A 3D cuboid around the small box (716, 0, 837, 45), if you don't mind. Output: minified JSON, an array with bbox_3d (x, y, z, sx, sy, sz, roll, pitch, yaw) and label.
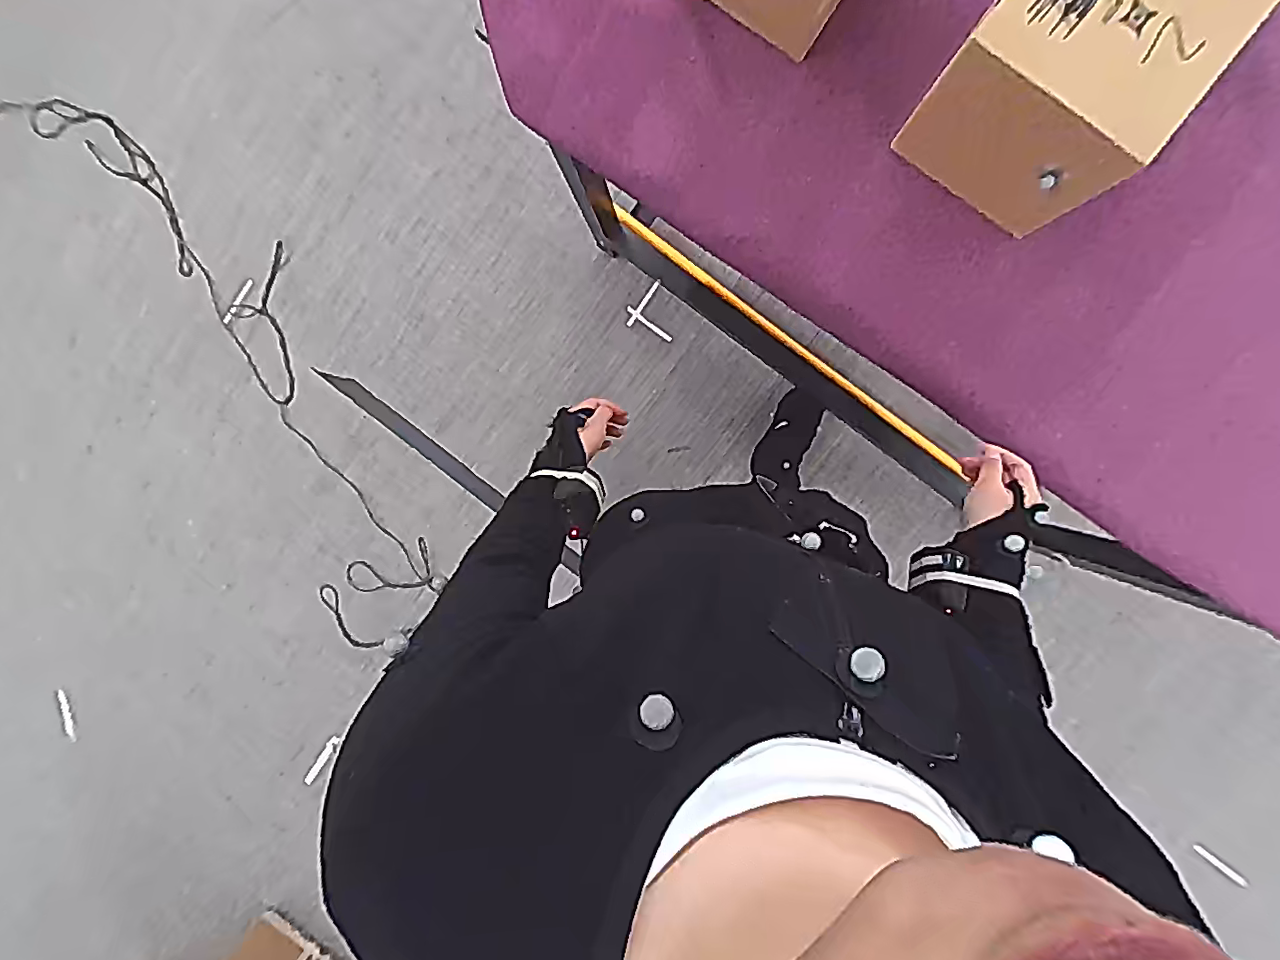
[{"bbox_3d":[0.146,-0.562,0.499,0.179,0.176,0.168,34,96,-1],"label":"small box"}]
